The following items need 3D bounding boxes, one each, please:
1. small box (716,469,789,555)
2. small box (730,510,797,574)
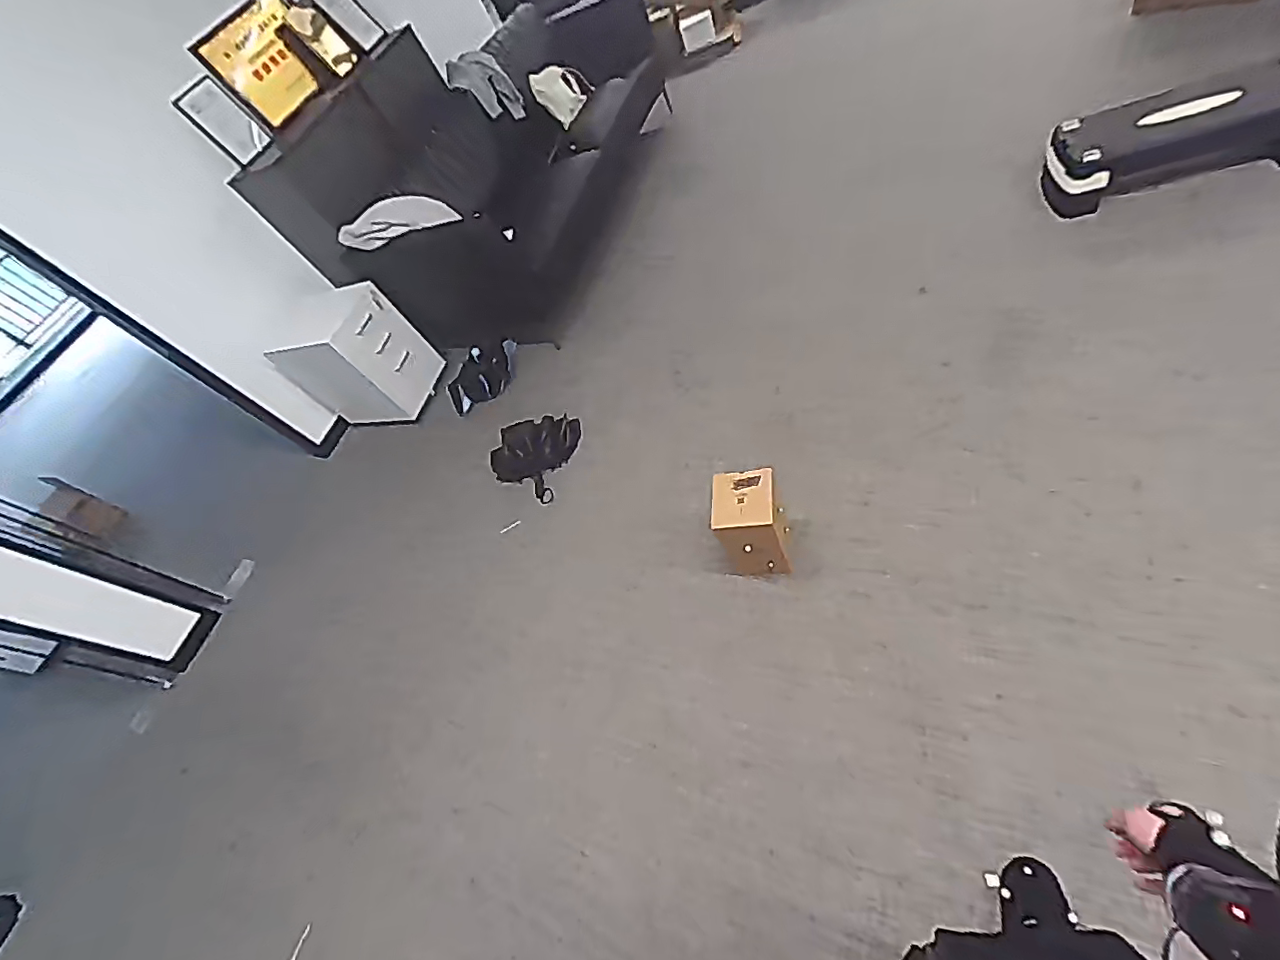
[{"bbox_3d":[0.316,0.092,1.505,0.168,0.176,0.179,-7,57,23],"label":"small box"},{"bbox_3d":[0.376,0.176,1.633,0.168,0.176,0.179,-8,54,22],"label":"small box"}]
